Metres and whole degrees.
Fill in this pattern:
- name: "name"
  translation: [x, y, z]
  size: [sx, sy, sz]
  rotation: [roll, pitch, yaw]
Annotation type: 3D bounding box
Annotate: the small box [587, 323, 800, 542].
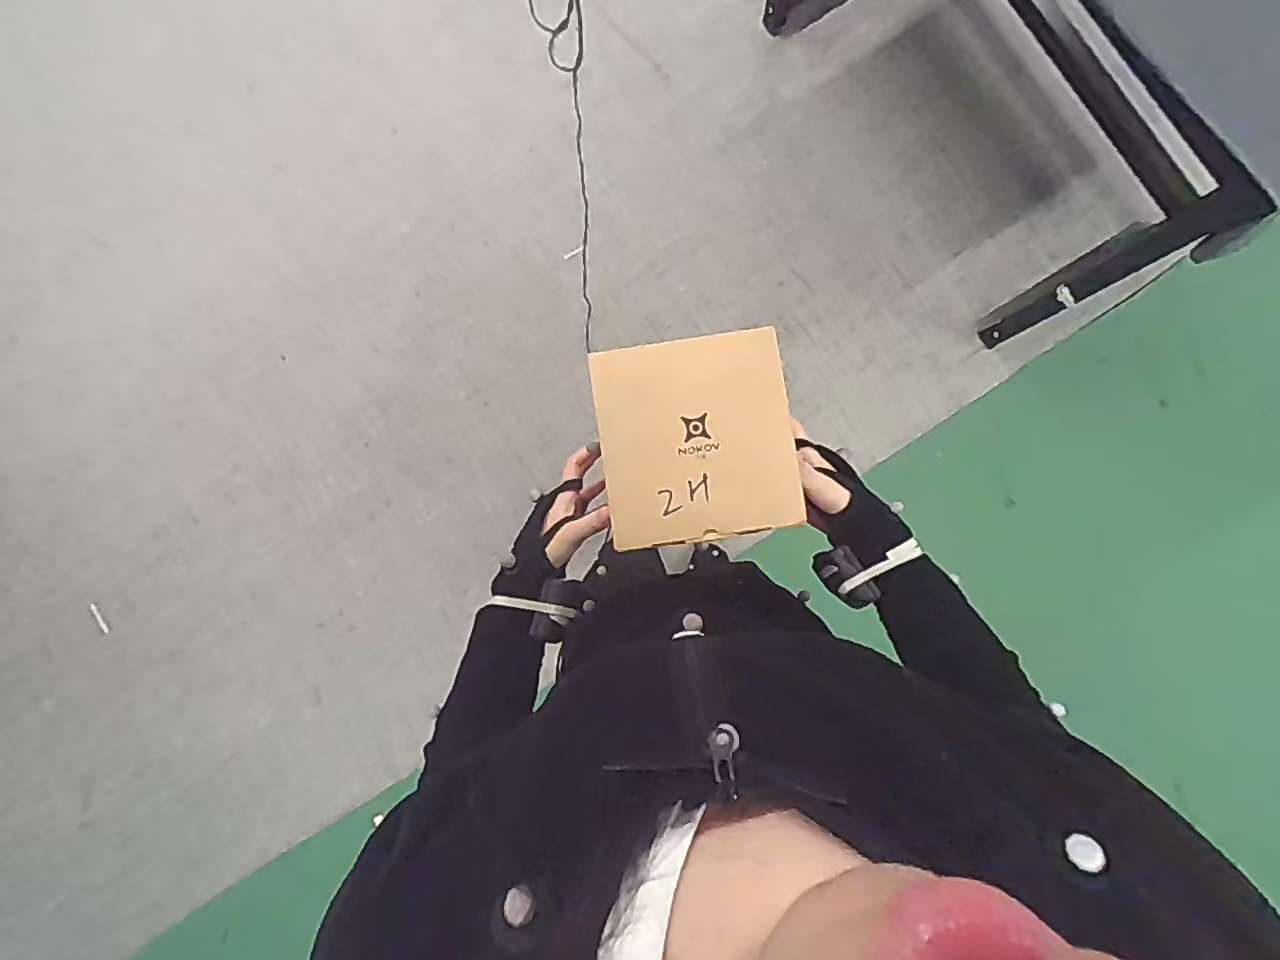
- name: "small box"
  translation: [0.045, -0.035, 0.542]
  size: [0.168, 0.176, 0.179]
  rotation: [-8, 86, 1]
